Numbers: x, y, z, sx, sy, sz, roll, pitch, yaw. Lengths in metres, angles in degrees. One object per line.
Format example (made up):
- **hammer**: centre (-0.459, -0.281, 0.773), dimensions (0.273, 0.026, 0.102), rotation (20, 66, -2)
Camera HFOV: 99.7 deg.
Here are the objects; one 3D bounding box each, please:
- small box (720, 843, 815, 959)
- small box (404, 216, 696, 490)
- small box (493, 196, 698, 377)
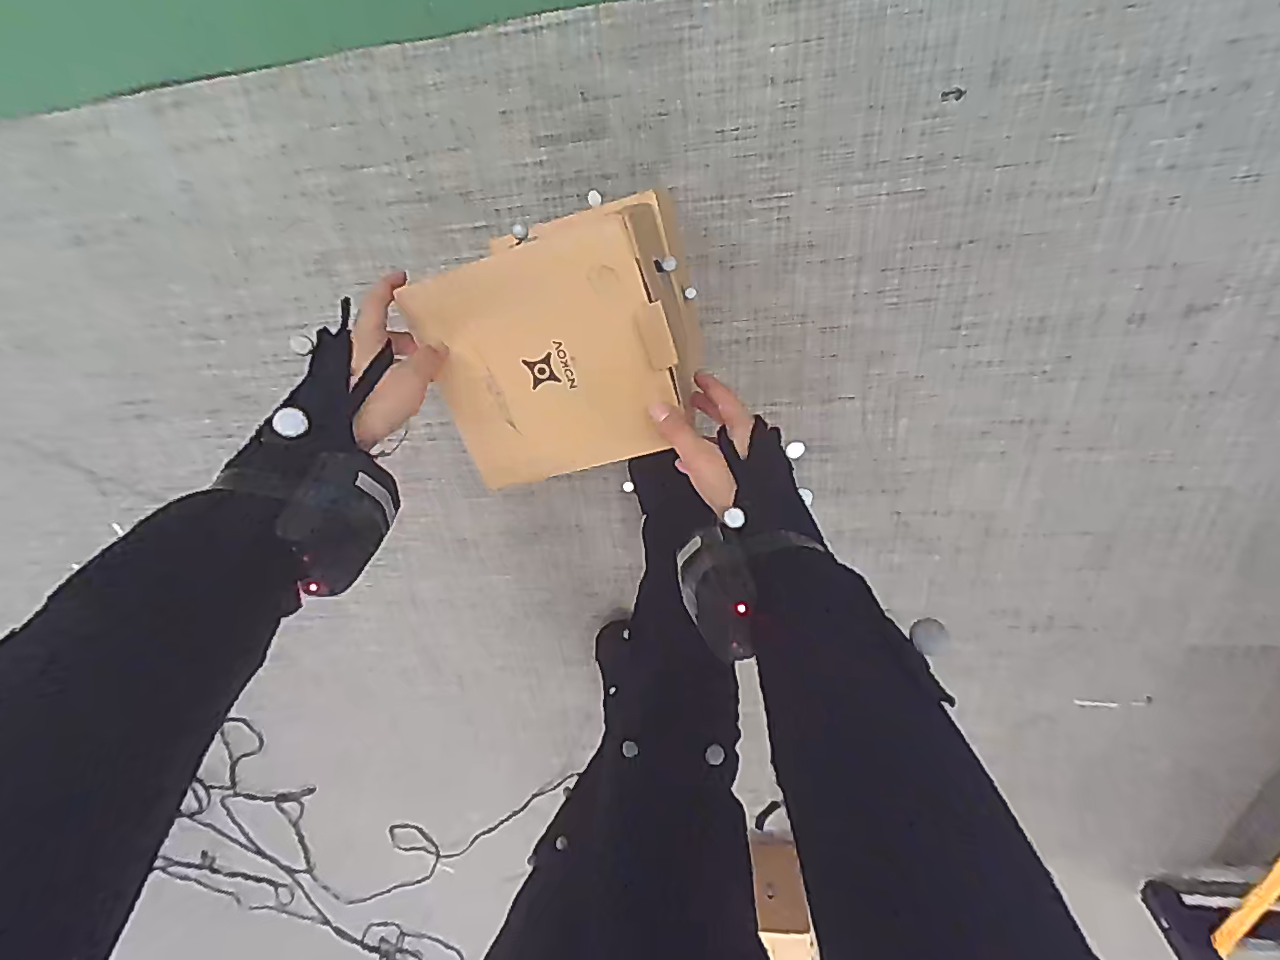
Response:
- **small box**: centre (0.272, 0.918, 1.173), dimensions (0.179, 0.176, 0.168), rotation (-7, 117, 10)
- **small box**: centre (-0.055, -0.116, 0.466), dimensions (0.179, 0.176, 0.168), rotation (-13, 114, 15)
- **small box**: centre (-0.032, -0.201, 0.602), dimensions (0.168, 0.176, 0.179), rotation (-11, 115, 13)
